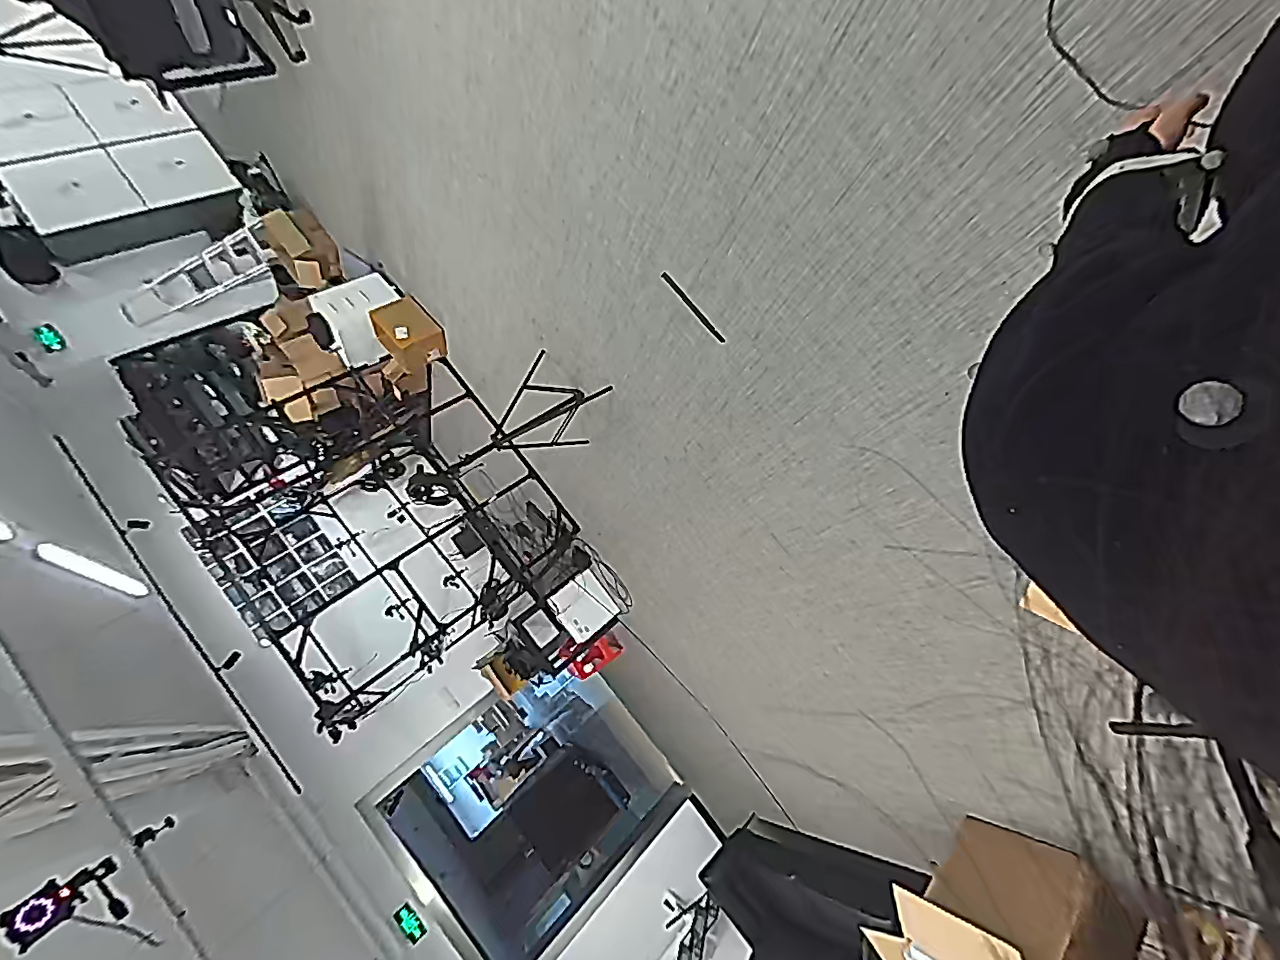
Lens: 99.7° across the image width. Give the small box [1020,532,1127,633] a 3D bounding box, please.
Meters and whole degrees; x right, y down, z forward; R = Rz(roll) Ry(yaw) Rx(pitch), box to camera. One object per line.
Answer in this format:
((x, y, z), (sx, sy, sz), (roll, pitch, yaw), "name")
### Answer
((1.193, 0.275, 1.487), (0.168, 0.176, 0.179), (31, 145, 38), "small box")
